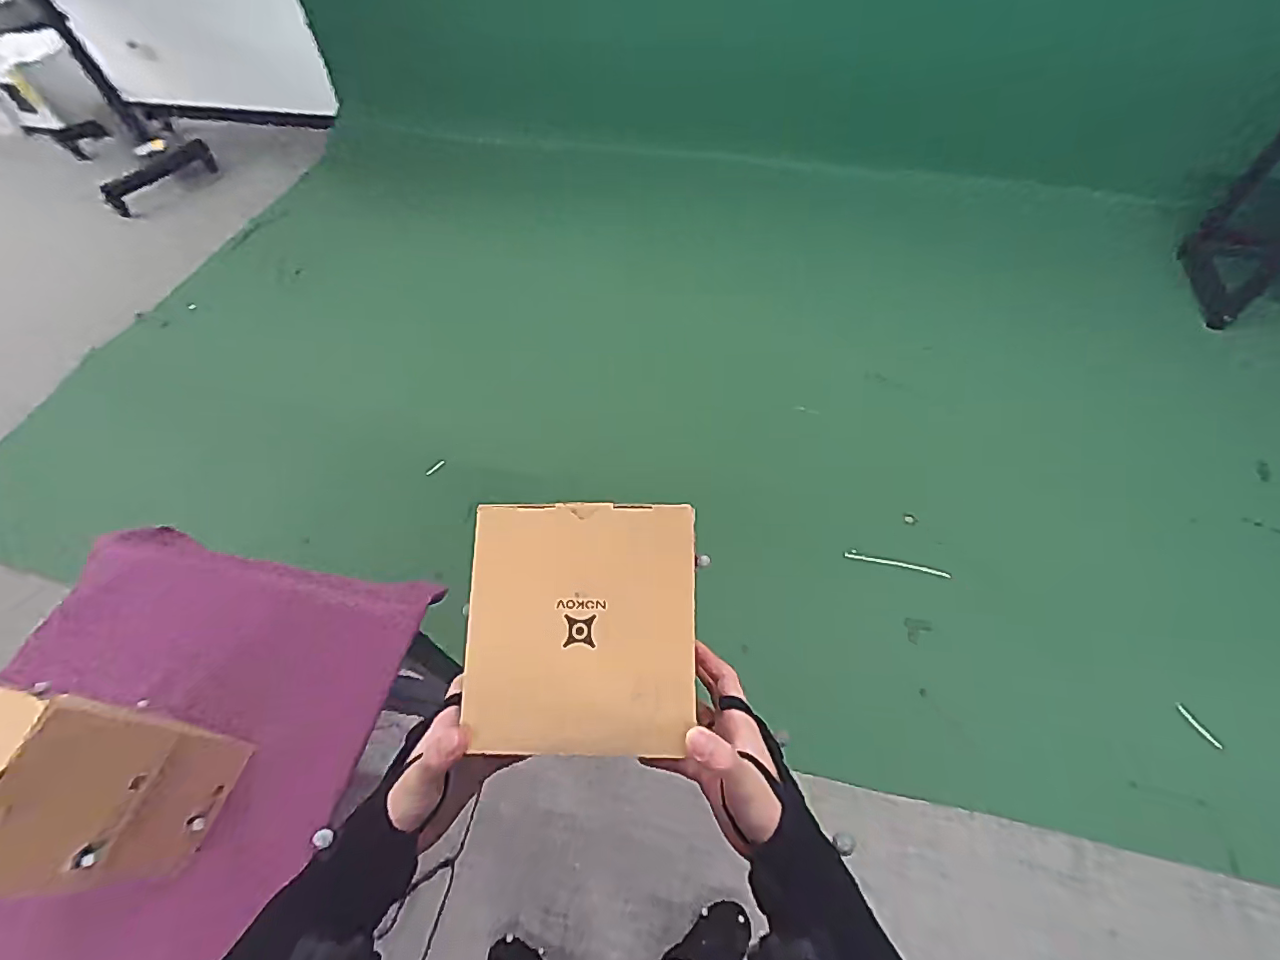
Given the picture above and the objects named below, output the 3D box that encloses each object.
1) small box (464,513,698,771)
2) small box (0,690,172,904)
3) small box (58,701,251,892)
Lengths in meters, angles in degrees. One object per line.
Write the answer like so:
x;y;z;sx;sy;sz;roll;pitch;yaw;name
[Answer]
-0.035;0.129;0.467;0.168;0.176;0.179;1;76;3;small box
-0.664;0.322;0.565;0.179;0.176;0.168;8;58;10;small box
-0.675;0.409;0.705;0.179;0.176;0.168;11;58;10;small box
